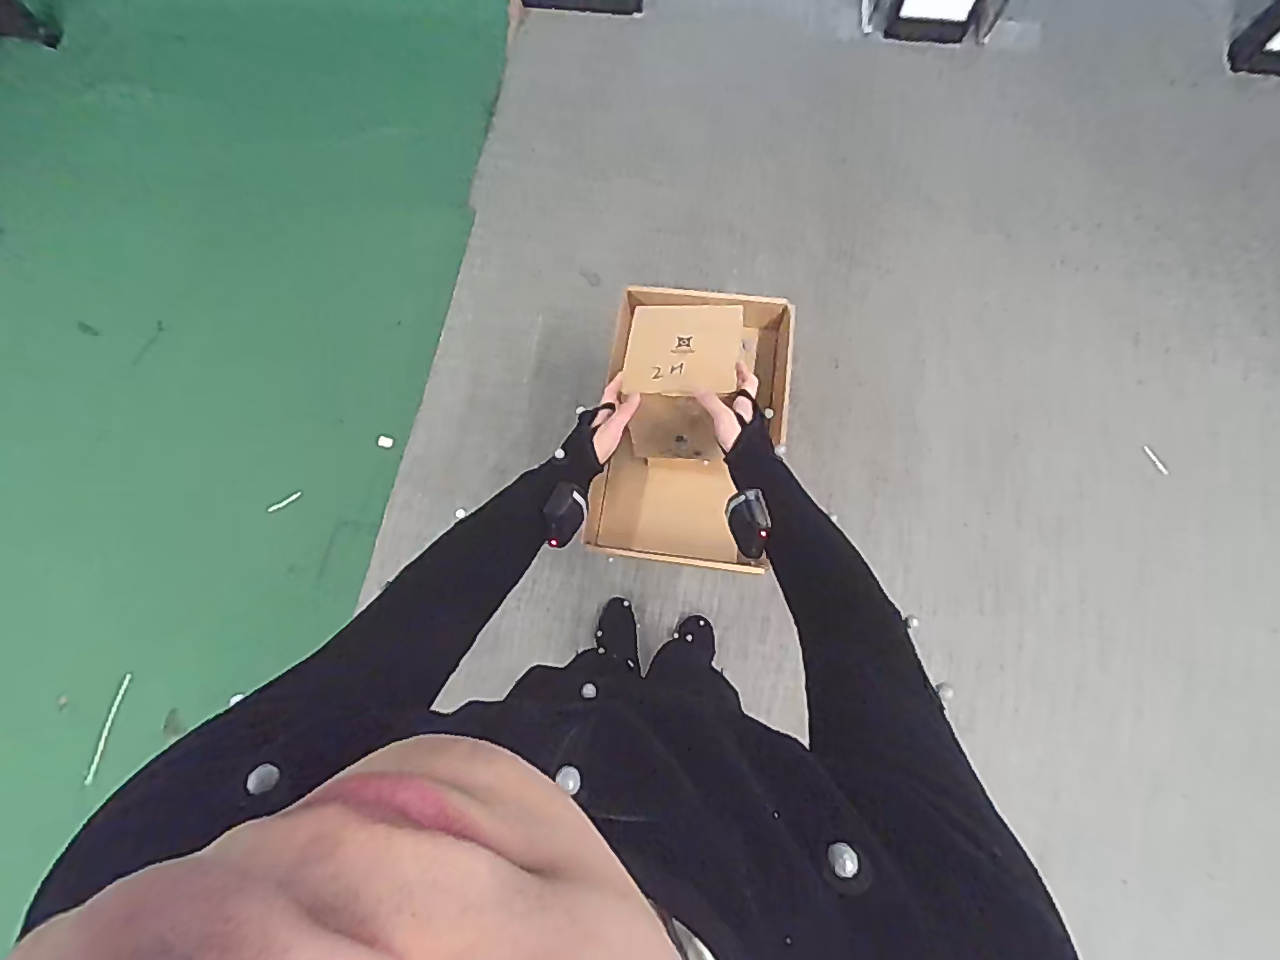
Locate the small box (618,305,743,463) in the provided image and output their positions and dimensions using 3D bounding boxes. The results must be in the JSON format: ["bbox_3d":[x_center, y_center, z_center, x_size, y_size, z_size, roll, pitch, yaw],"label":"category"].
[{"bbox_3d":[0.070,-0.148,0.841,0.168,0.176,0.179,3,60,10],"label":"small box"}]

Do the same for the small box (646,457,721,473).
[{"bbox_3d":[0.106,-0.120,1.209,0.179,0.176,0.168,8,77,4],"label":"small box"}]
